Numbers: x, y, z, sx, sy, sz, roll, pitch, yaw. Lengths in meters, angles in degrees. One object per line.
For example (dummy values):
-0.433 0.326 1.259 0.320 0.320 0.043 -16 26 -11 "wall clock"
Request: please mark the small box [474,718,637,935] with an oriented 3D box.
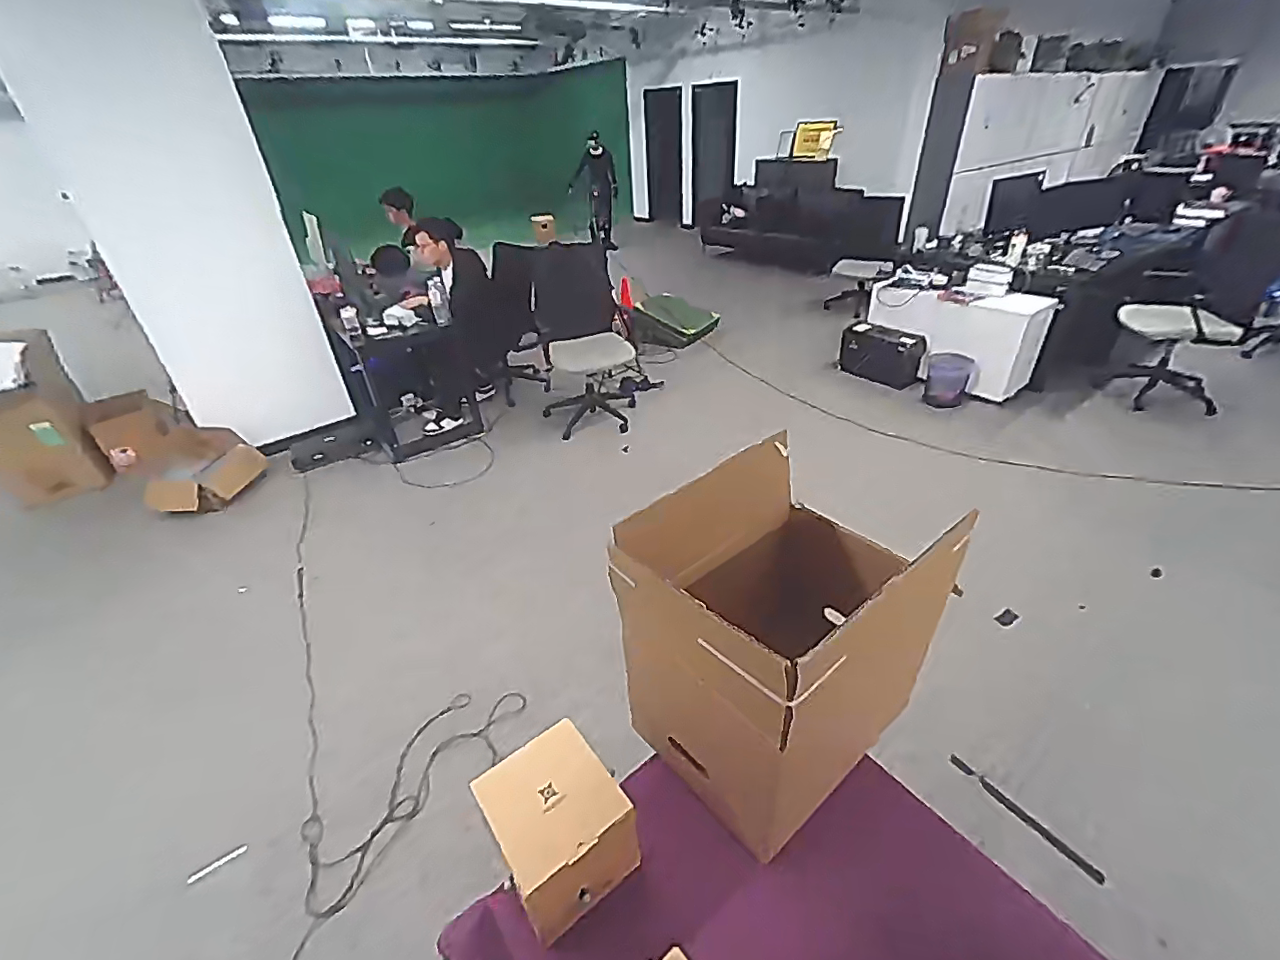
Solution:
-0.120 0.500 0.788 0.168 0.176 0.179 -25 41 -29 "small box"
